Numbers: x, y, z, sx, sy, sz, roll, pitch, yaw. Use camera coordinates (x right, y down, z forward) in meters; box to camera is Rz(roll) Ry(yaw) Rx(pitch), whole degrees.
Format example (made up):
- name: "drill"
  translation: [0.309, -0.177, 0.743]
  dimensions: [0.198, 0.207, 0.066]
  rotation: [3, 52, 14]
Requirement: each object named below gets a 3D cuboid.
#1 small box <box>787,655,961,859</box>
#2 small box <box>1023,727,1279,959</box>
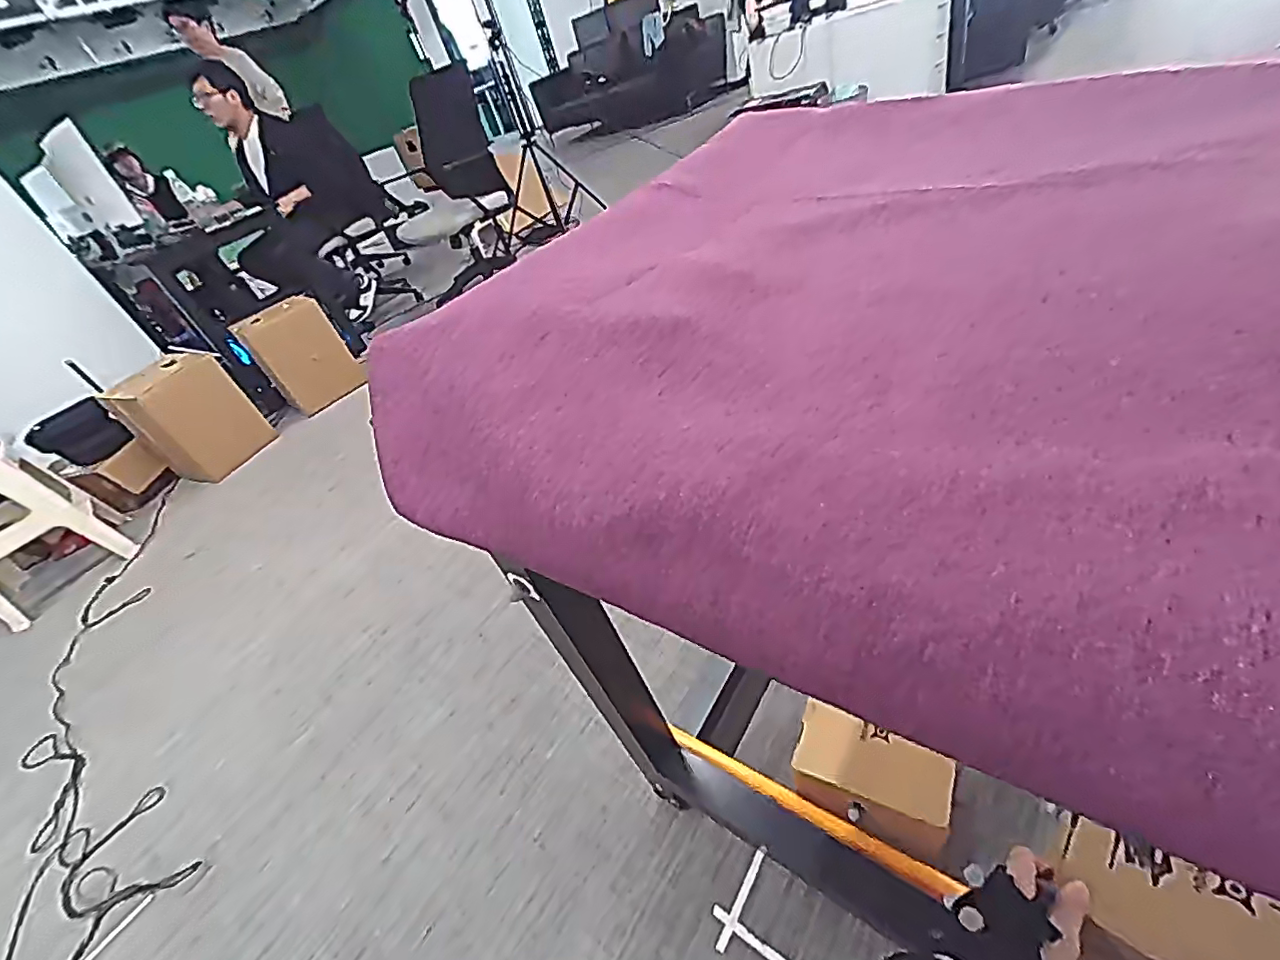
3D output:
- name: "small box"
  translation: [0.314, 0.369, 0.723]
  dimensions: [0.179, 0.176, 0.168]
  rotation: [7, 46, 32]
- name: "small box"
  translation: [0.453, 0.358, 0.452]
  dimensions: [0.179, 0.176, 0.168]
  rotation: [21, 51, 40]
